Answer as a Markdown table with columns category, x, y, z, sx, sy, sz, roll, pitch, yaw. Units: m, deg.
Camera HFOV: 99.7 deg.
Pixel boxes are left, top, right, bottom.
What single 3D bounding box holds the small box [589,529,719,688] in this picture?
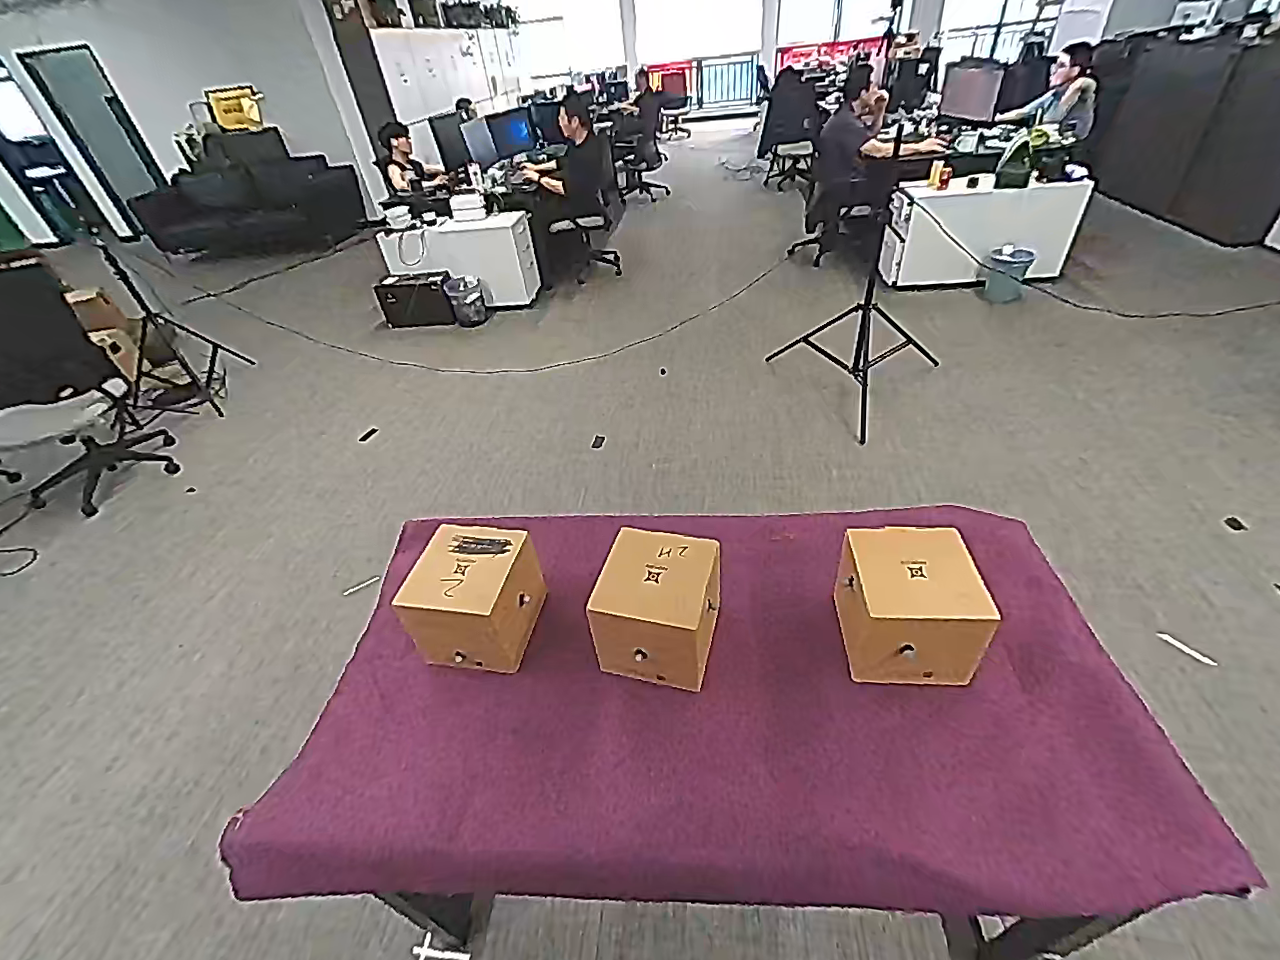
| category | x | y | z | sx | sy | sz | roll | pitch | yaw |
| --- | --- | --- | --- | --- | --- | --- | --- | --- | --- |
| small box | 0.033 | 0.207 | 0.875 | 0.168 | 0.176 | 0.179 | 7 | 41 | 16 |

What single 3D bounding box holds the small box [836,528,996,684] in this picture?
| category | x | y | z | sx | sy | sz | roll | pitch | yaw |
| --- | --- | --- | --- | --- | --- | --- | --- | --- | --- |
| small box | 0.409 | 0.195 | 0.835 | 0.168 | 0.176 | 0.179 | -1 | 38 | 8 |
